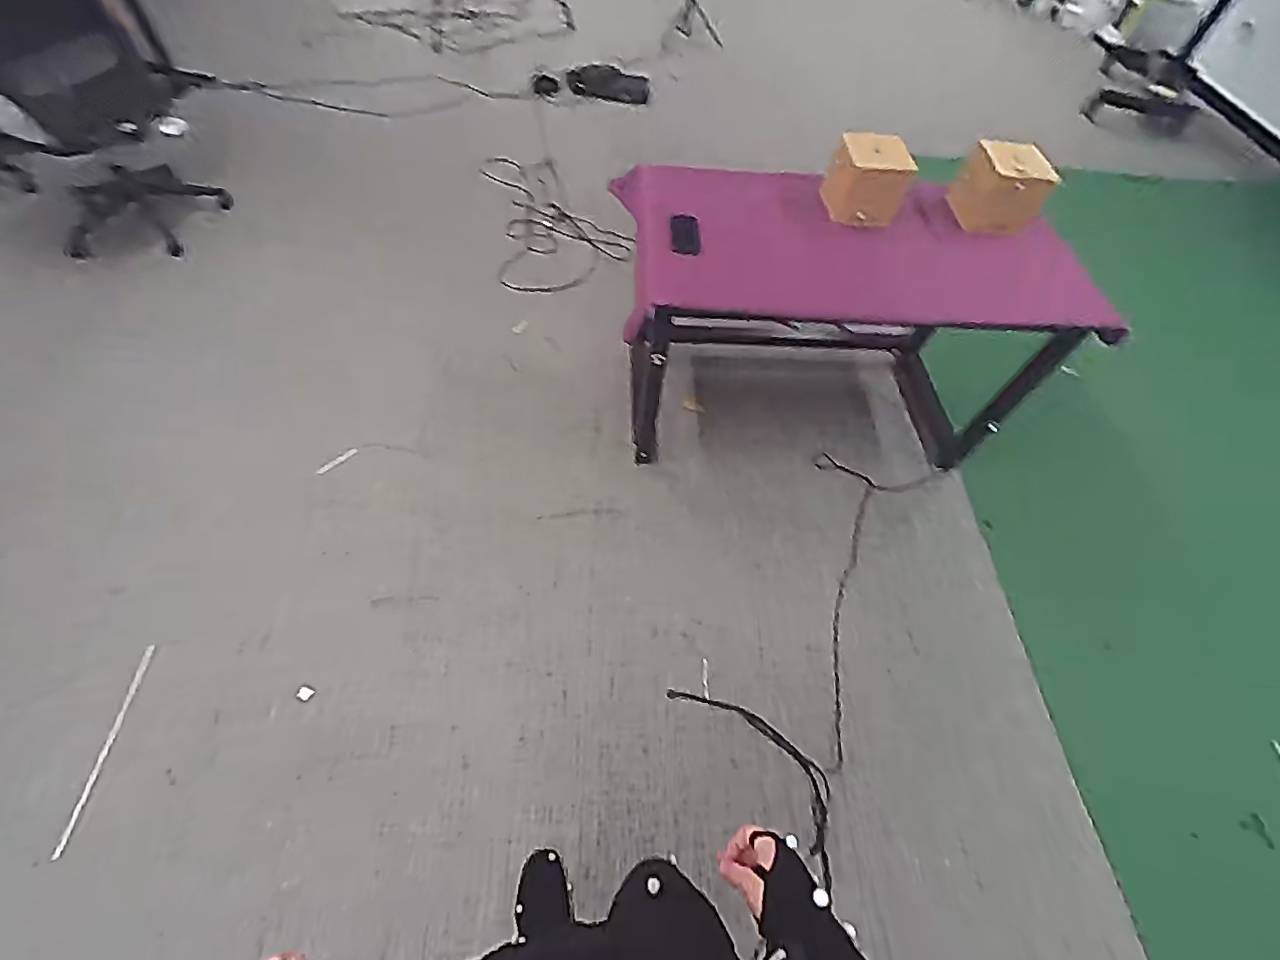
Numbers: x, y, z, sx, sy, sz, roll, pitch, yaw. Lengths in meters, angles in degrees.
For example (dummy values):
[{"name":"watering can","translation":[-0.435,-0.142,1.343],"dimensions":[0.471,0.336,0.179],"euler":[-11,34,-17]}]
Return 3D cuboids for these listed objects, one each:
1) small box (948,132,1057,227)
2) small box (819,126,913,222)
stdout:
[{"name":"small box","translation":[0.999,-0.838,1.512],"dimensions":[0.168,0.176,0.179],"euler":[1,58,-2]},{"name":"small box","translation":[0.611,-0.841,1.488],"dimensions":[0.168,0.176,0.179],"euler":[0,59,-4]}]
